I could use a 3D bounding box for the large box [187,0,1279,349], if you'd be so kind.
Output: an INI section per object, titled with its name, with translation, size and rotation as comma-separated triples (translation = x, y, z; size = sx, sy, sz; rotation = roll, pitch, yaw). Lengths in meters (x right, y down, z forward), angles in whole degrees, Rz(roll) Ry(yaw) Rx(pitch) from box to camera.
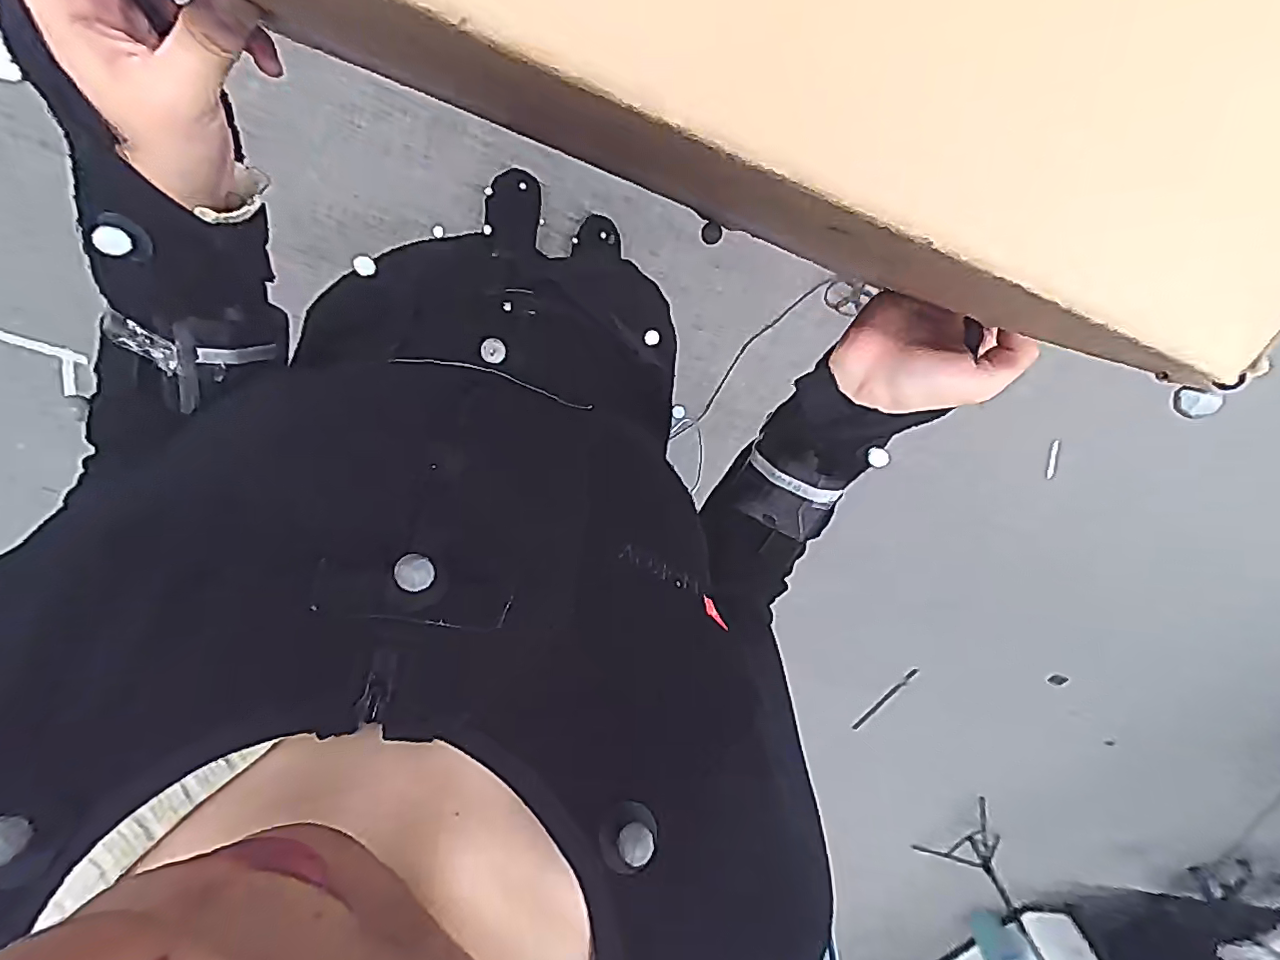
[large box]
translation = 0.028, -0.286, 0.187
size = 0.408, 0.320, 0.320
rotation = 14, 117, -13
